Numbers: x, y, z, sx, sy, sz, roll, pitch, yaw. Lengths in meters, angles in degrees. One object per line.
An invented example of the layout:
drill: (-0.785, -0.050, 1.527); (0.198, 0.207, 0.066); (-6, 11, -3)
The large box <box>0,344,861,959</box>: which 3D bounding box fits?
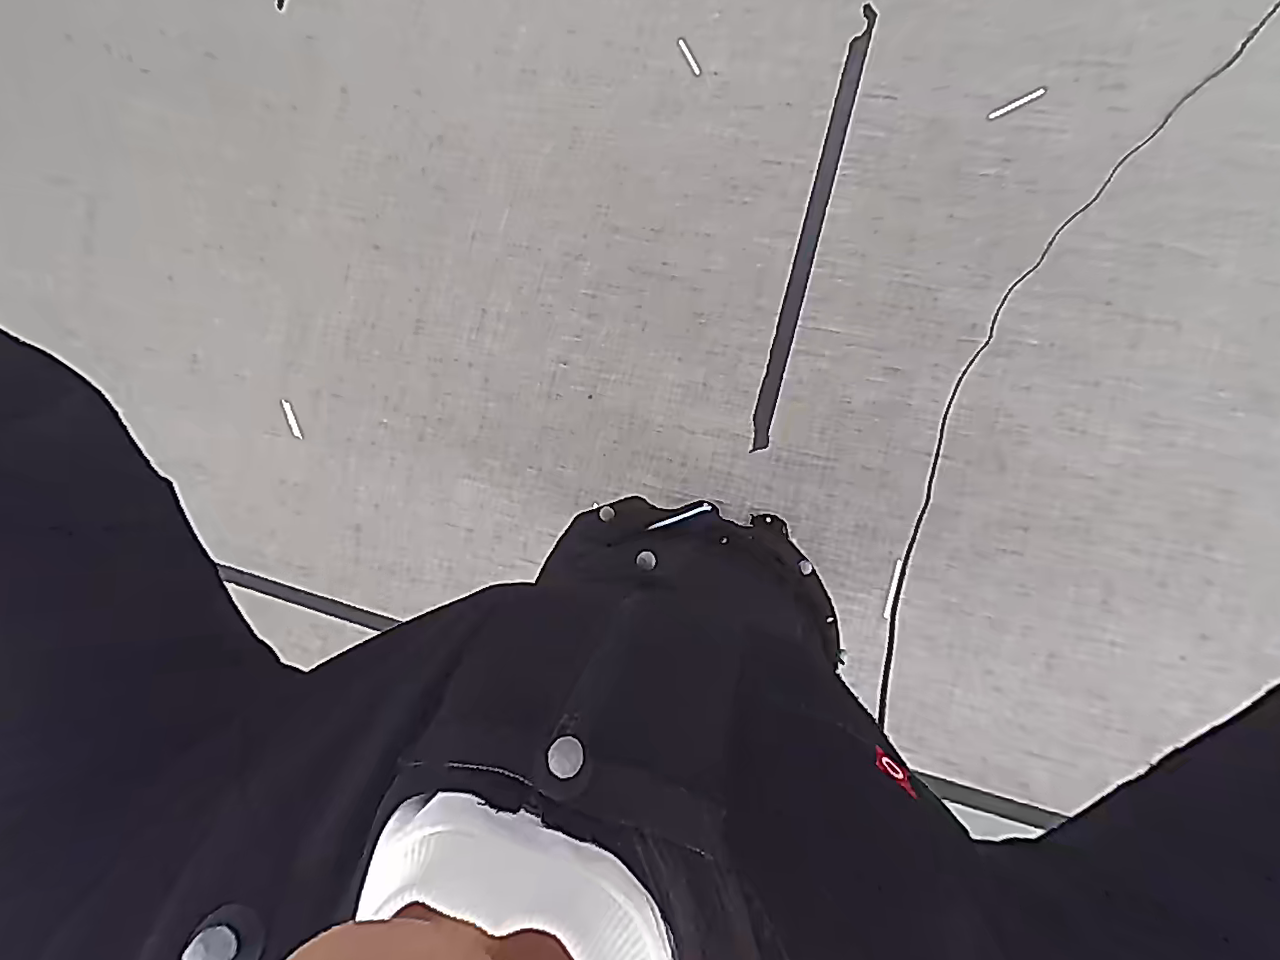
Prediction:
large box: (-0.177, 0.170, 0.123); (0.408, 0.320, 0.320); (1, -145, 3)
